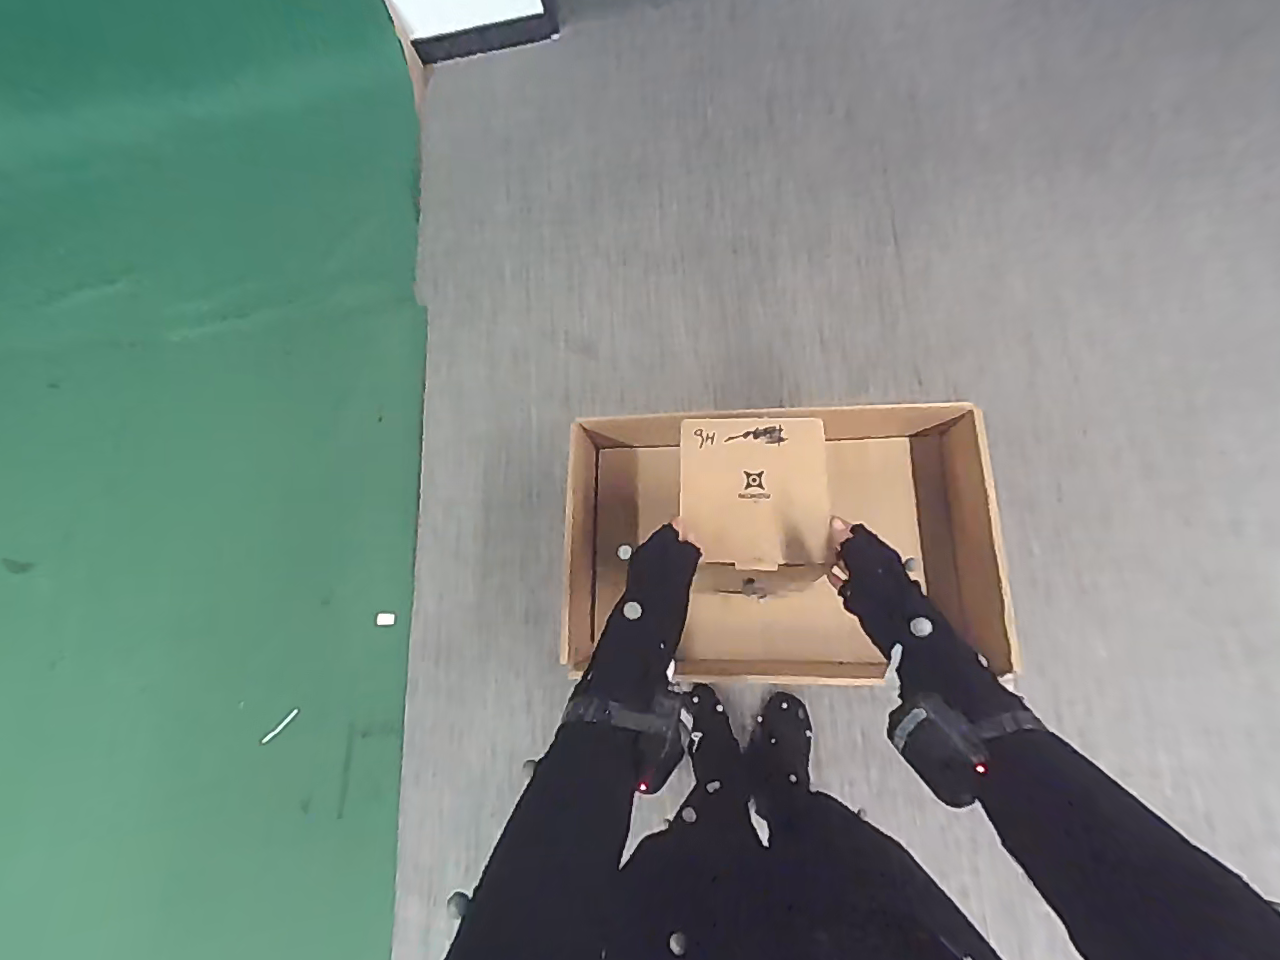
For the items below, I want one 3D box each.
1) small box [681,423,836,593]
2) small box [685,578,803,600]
[{"bbox_3d":[0.139,0.042,0.677,0.168,0.176,0.179,0,69,6],"label":"small box"},{"bbox_3d":[0.159,0.095,0.847,0.168,0.176,0.179,1,75,7],"label":"small box"}]
